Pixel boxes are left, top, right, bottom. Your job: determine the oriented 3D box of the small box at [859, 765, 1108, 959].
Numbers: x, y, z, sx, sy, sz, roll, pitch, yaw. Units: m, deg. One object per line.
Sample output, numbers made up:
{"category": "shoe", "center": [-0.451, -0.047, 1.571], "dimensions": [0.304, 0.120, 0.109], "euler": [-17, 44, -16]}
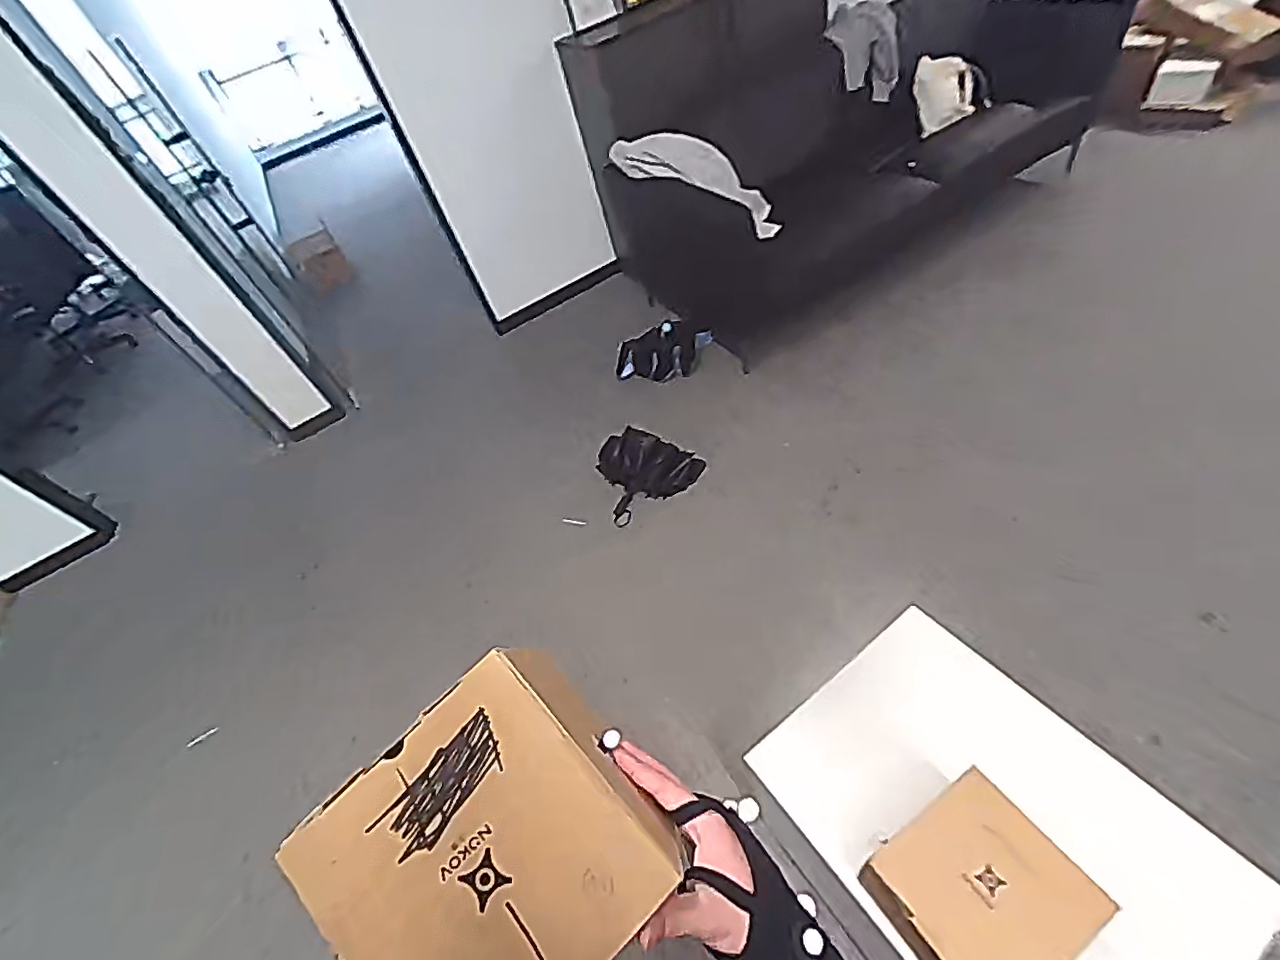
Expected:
{"category": "small box", "center": [0.381, 0.483, 0.637], "dimensions": [0.179, 0.176, 0.168], "euler": [-31, 49, -14]}
